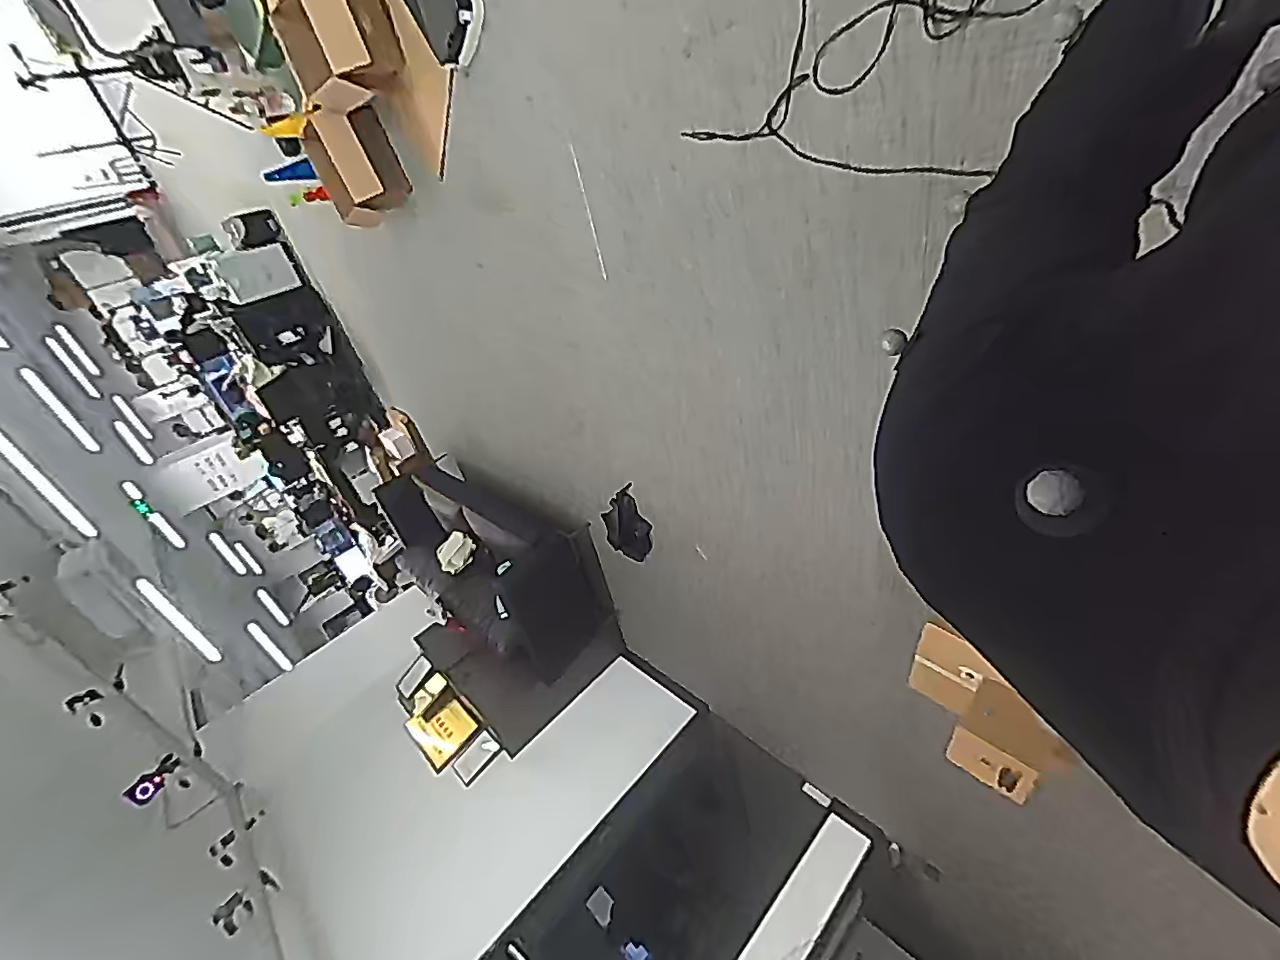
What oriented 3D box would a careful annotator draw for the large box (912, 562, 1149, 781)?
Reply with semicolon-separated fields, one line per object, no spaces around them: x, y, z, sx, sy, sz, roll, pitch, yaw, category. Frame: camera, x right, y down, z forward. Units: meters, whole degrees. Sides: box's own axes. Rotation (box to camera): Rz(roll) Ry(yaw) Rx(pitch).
1.030;0.496;1.463;0.408;0.320;0.320;29;141;39;large box
